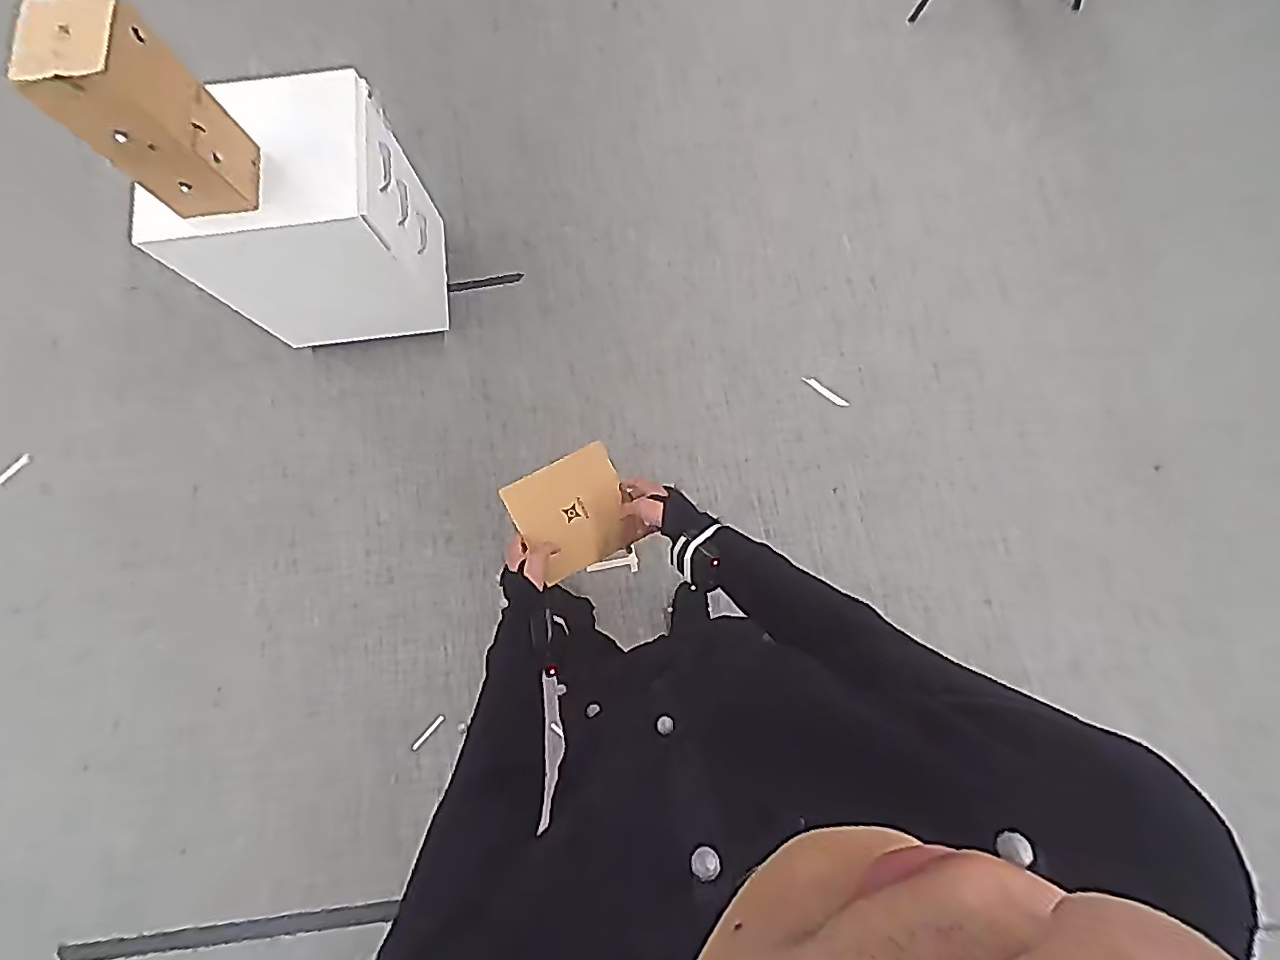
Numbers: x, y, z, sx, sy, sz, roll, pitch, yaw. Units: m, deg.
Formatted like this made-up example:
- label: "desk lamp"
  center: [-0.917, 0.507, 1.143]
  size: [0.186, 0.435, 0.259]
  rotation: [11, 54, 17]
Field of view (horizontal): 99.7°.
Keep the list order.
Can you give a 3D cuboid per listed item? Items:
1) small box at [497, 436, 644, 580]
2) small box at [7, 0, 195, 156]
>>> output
- label: "small box"
  center: [-0.109, 0.049, 0.896]
  size: [0.179, 0.176, 0.168]
  rotation: [-28, 88, -7]
- label: "small box"
  center: [-0.952, -0.724, 0.973]
  size: [0.168, 0.176, 0.179]
  rotation: [-5, 79, 1]
